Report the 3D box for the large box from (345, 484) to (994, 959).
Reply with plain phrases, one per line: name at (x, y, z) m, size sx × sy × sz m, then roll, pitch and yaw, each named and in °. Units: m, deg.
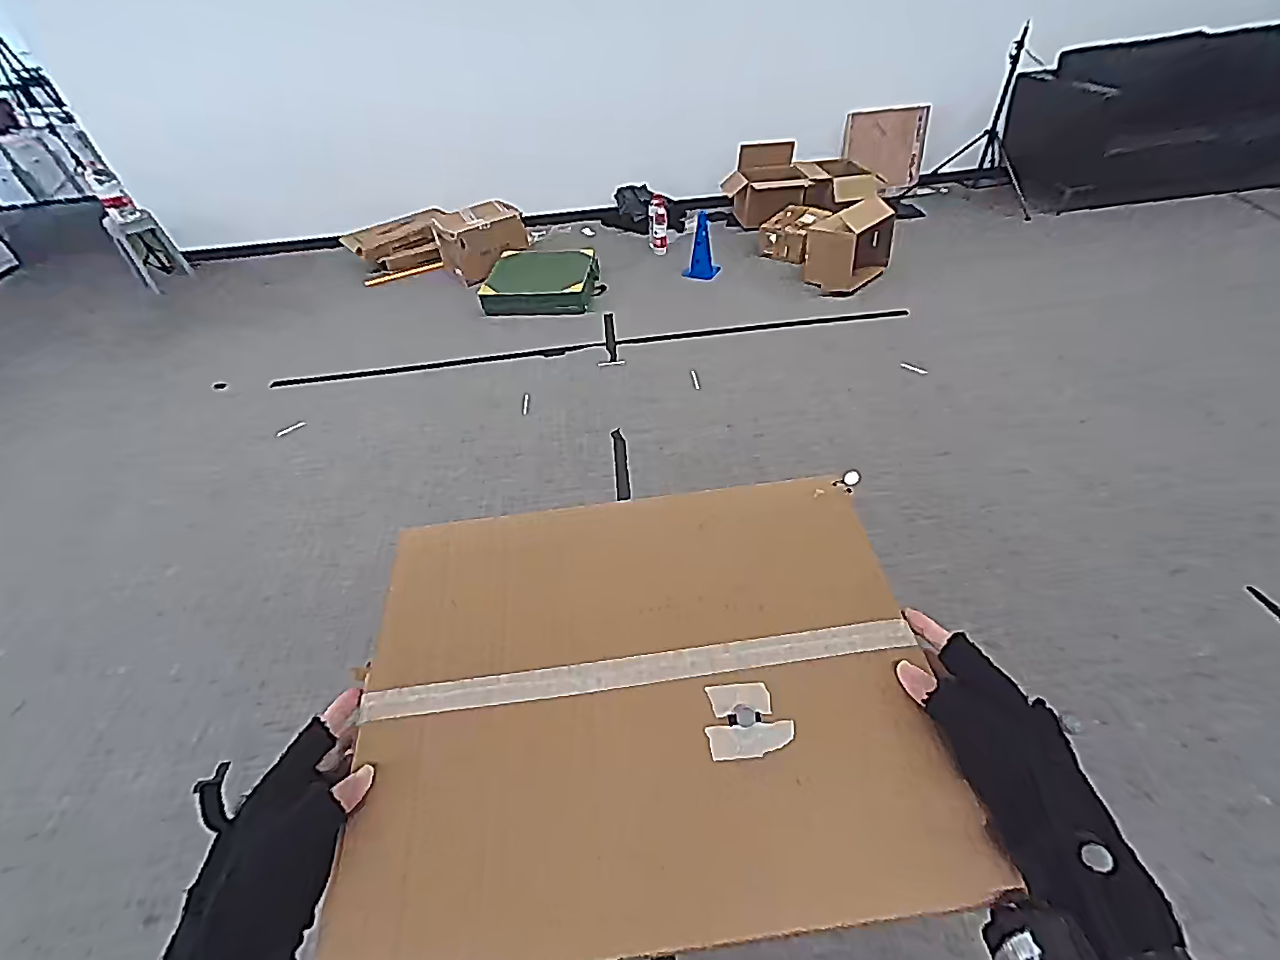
large box at (0.010, 0.239, 0.528) m, size 0.408 × 0.320 × 0.320 m, roll -7°, pitch 52°, yaw -2°
